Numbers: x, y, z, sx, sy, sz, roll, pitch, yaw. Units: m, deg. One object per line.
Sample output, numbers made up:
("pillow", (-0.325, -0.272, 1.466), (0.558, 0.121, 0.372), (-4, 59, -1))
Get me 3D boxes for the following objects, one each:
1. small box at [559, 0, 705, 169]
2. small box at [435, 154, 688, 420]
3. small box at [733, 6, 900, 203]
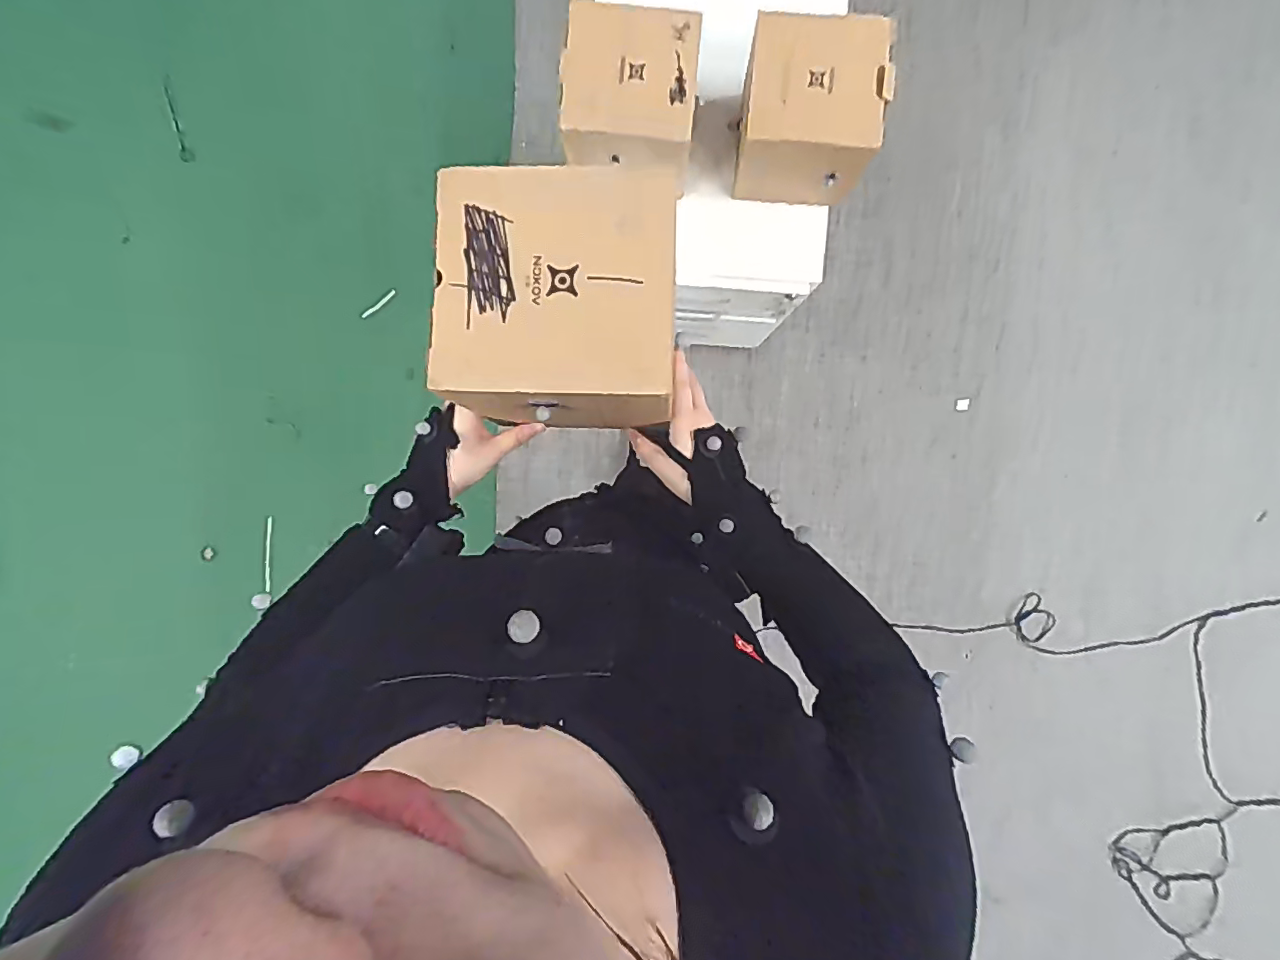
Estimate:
("small box", (-0.009, -0.532, 0.771), (0.179, 0.176, 0.168), (6, 94, 1))
("small box", (-0.051, -0.146, 0.461), (0.179, 0.176, 0.168), (2, 88, 3))
("small box", (0.237, -0.515, 0.765), (0.179, 0.176, 0.168), (5, 93, 3))
